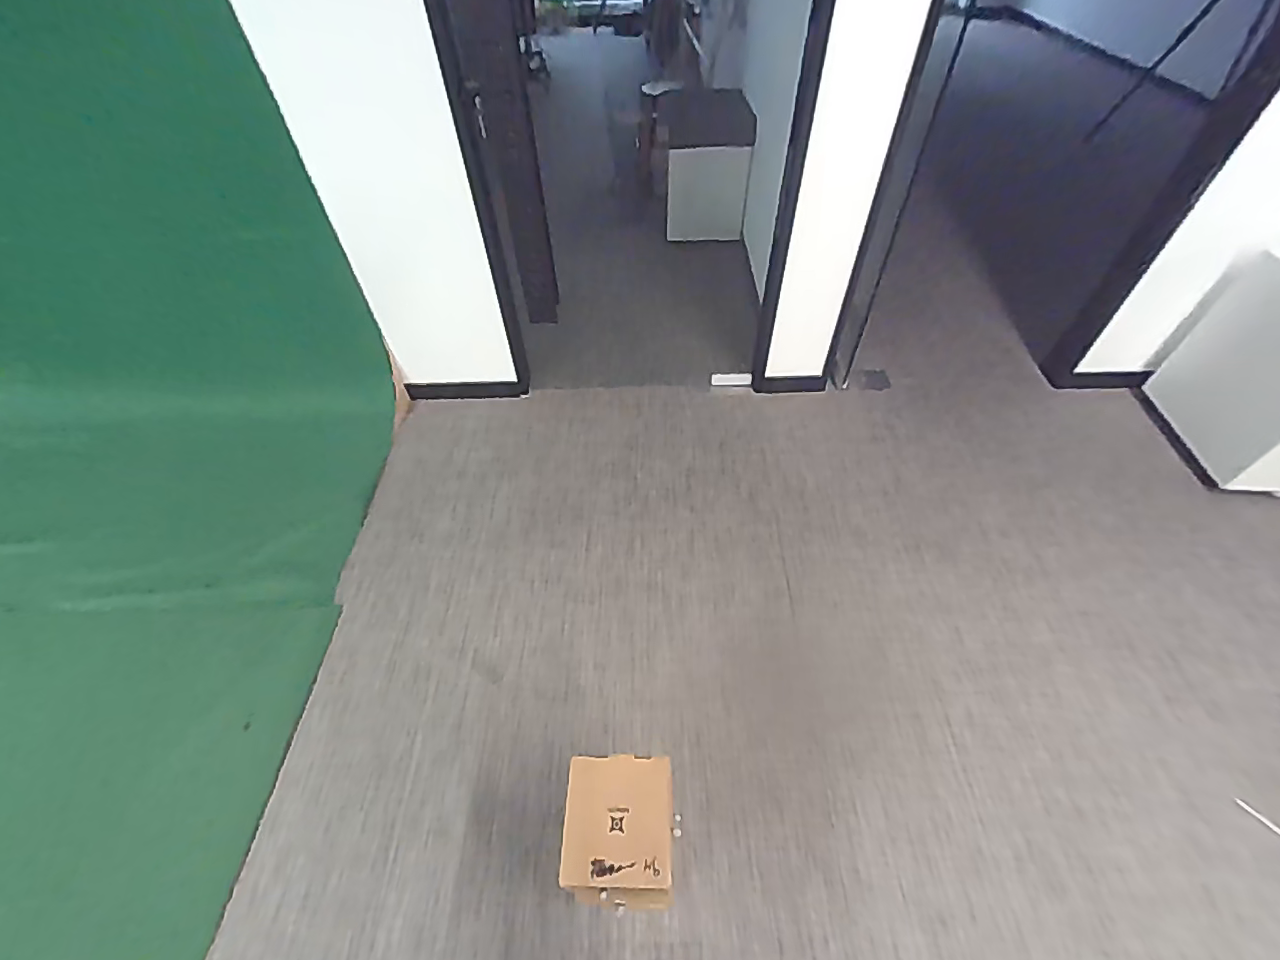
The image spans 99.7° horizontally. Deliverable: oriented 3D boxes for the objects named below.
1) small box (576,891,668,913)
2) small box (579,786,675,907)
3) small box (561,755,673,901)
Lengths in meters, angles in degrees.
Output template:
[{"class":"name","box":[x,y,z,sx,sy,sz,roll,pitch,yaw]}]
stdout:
[{"class":"small box","box":[-0.029,0.799,1.134,0.179,0.176,0.168,0,49,3]},{"class":"small box","box":[-0.018,0.687,1.018,0.168,0.176,0.179,-1,50,3]},{"class":"small box","box":[-0.029,0.576,0.897,0.168,0.176,0.179,0,48,3]}]
